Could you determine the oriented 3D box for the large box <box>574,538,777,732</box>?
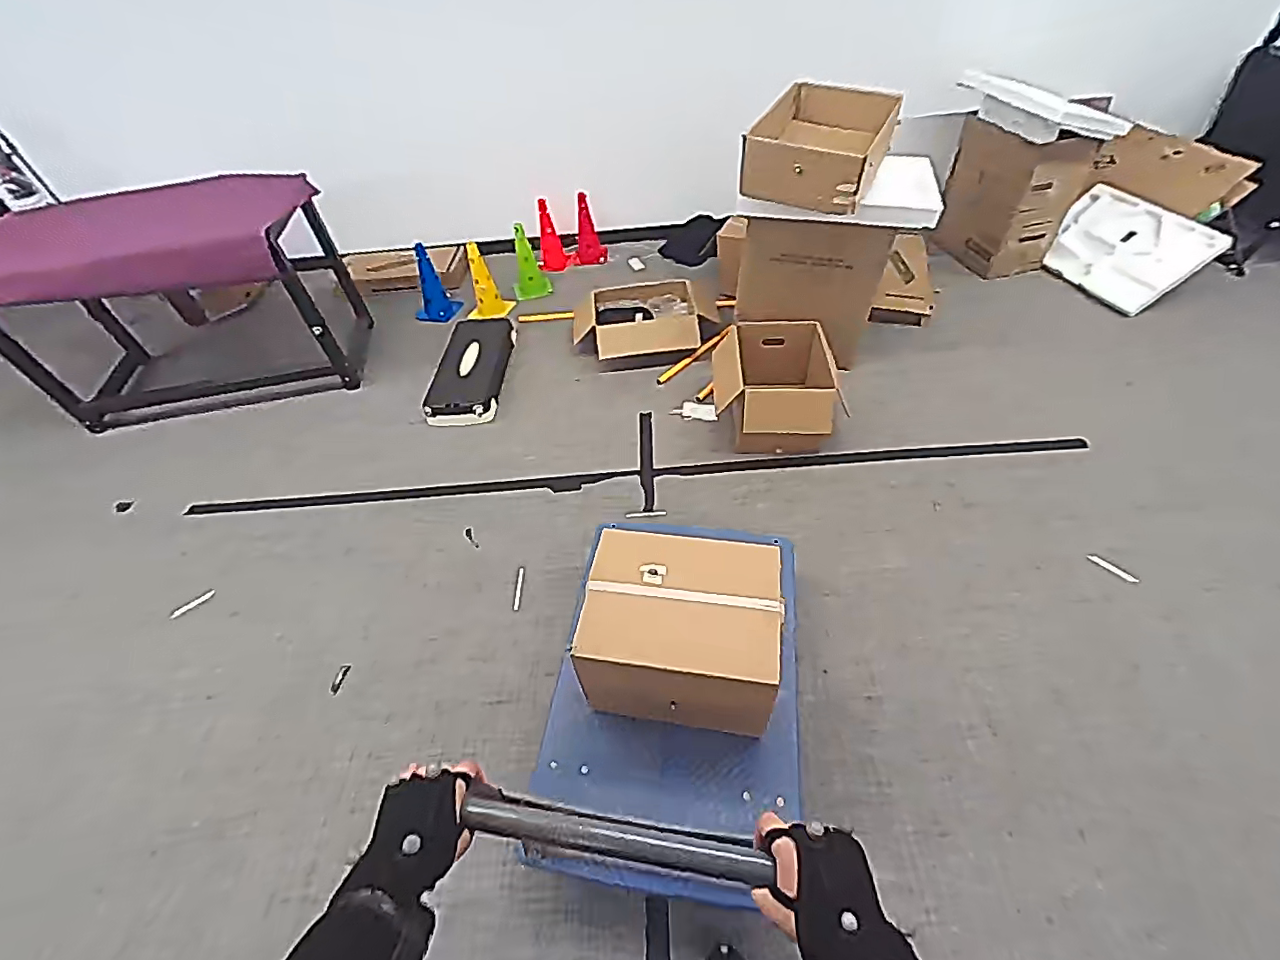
[{"bbox_3d":[0.098,0.359,1.254,0.408,0.320,0.320,4,47,10],"label":"large box"}]
